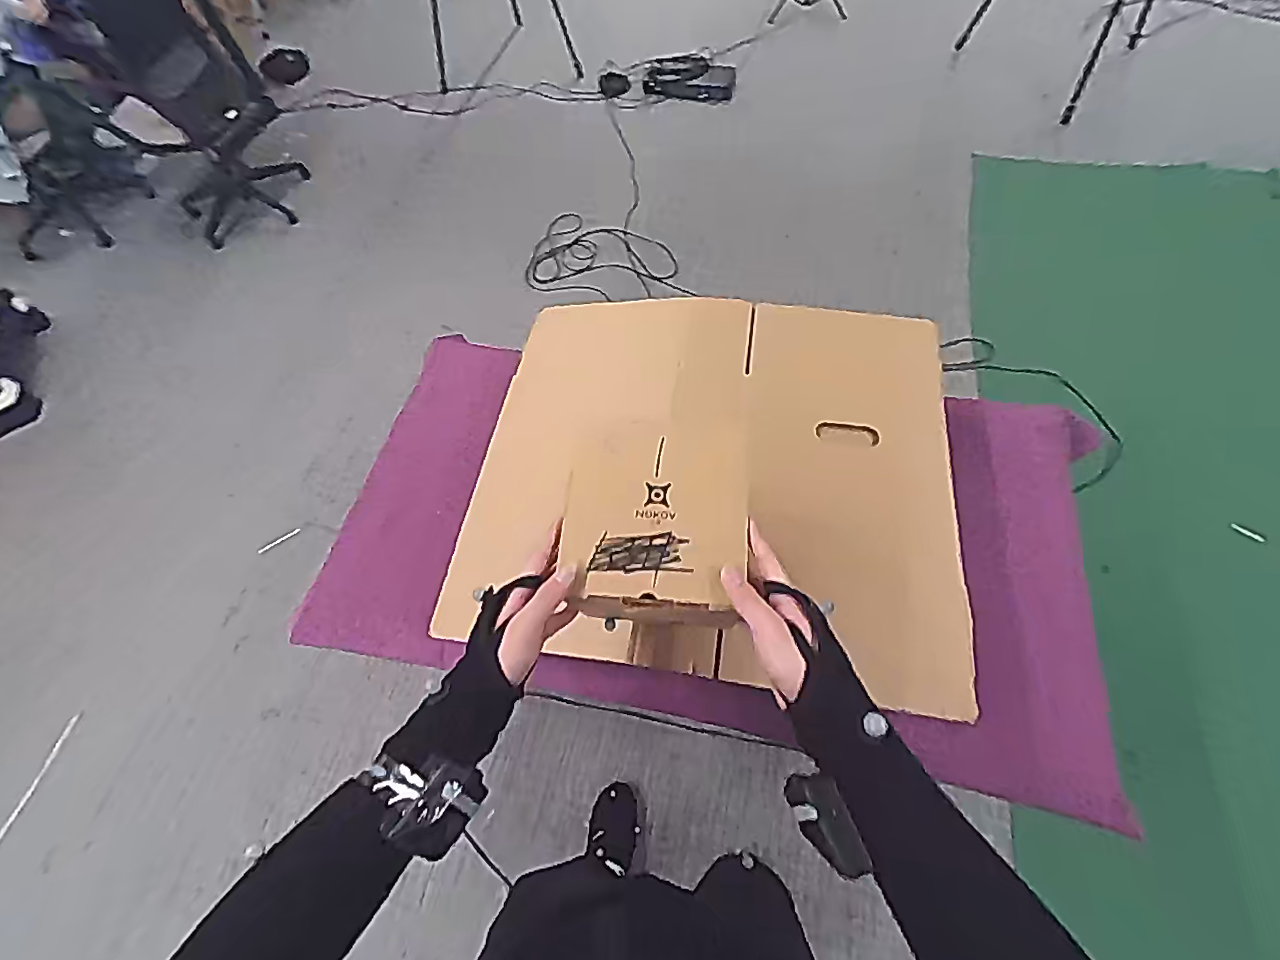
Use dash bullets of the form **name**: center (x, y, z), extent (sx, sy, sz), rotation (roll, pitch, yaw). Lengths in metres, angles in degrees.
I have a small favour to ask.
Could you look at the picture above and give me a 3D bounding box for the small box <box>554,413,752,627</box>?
- **small box**: center (0.022, 0.050, 0.554), extent (0.168, 0.176, 0.179), rotation (3, 69, 7)
